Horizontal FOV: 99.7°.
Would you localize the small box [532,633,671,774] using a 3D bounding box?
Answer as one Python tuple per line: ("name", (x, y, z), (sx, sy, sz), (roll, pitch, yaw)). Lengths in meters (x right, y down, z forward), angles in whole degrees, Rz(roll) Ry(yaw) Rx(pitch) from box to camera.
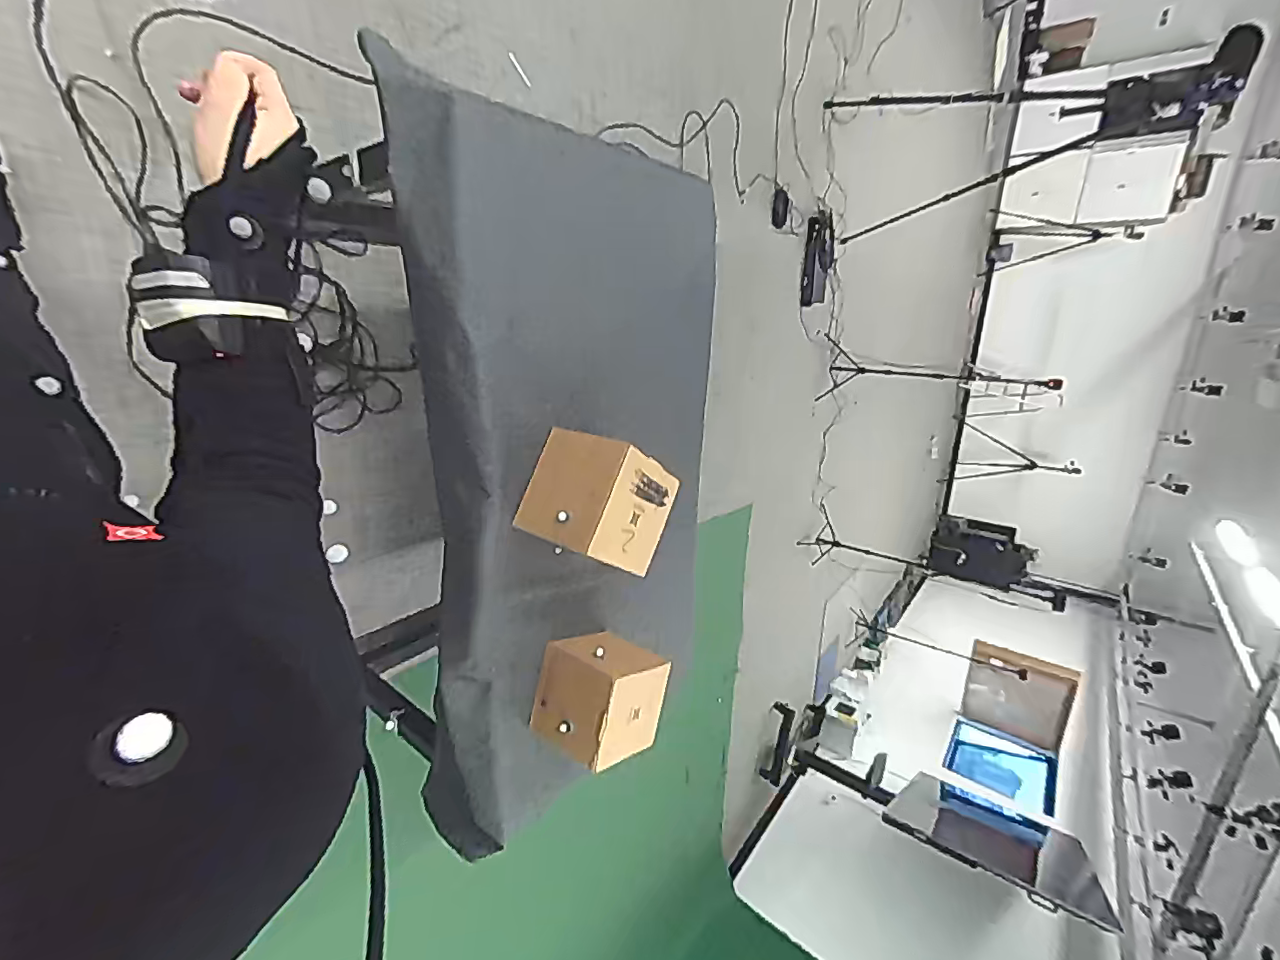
("small box", (-0.072, 0.397, 0.995), (0.179, 0.176, 0.168), (10, 94, -55))
